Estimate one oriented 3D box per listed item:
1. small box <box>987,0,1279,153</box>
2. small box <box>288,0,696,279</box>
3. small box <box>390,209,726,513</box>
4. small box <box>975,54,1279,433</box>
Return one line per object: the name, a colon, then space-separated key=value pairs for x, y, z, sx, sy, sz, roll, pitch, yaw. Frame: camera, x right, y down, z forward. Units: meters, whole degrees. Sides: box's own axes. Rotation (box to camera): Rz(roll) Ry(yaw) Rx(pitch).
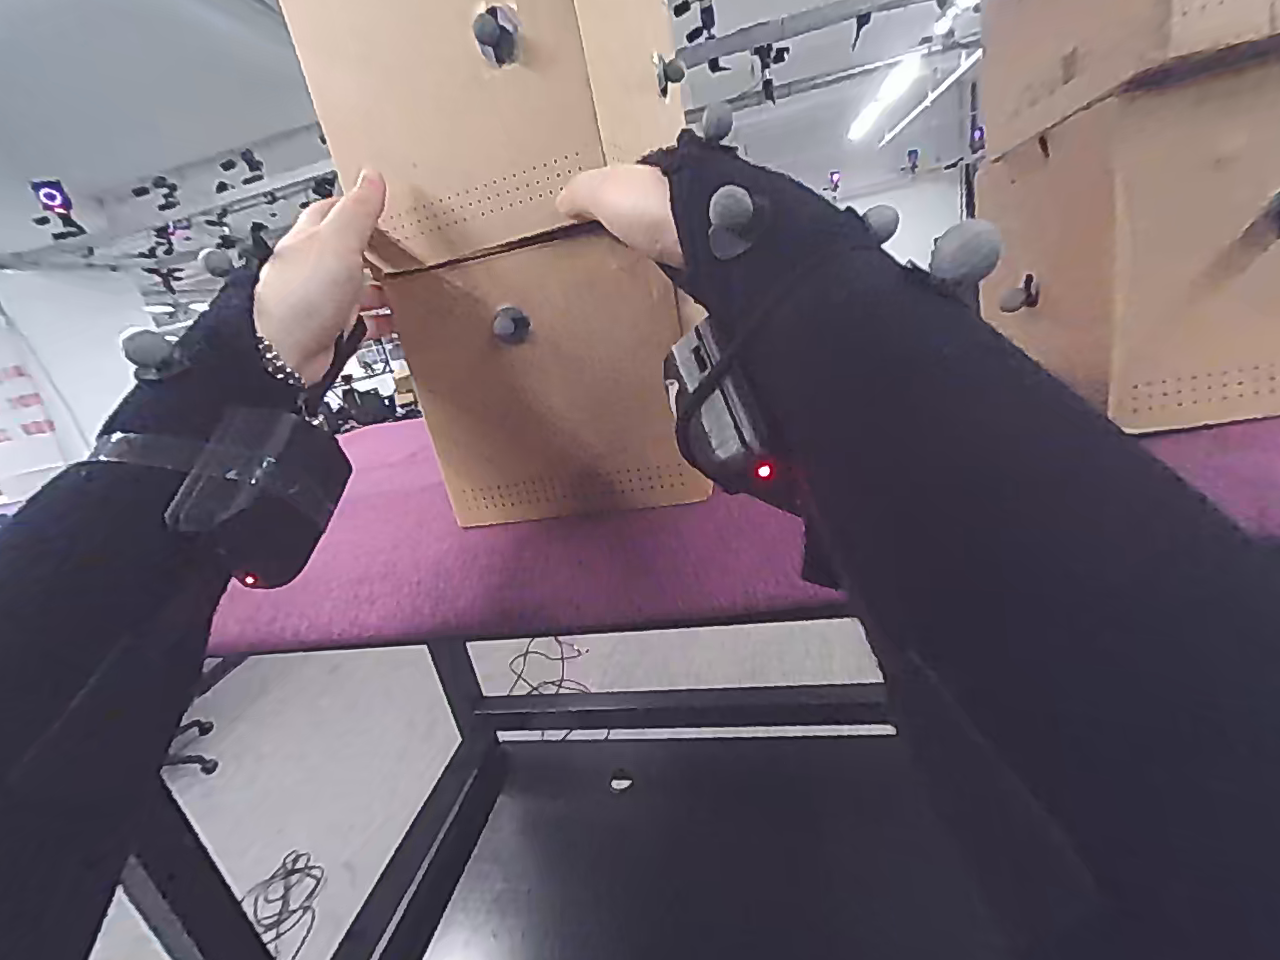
small box: x=0.295 y=-0.282 z=0.266 sx=0.179 sy=0.176 sz=0.168 roll=-8 pitch=16 yaw=14
small box: x=-0.073 y=-0.233 z=0.350 sx=0.179 sy=0.176 sz=0.168 roll=-4 pitch=19 yaw=24
small box: x=-0.039 y=-0.082 z=0.400 sx=0.179 sy=0.176 sz=0.168 roll=-6 pitch=19 yaw=14
small box: x=0.329 y=-0.132 z=0.322 sx=0.179 sy=0.176 sz=0.168 roll=-9 pitch=16 yaw=14
